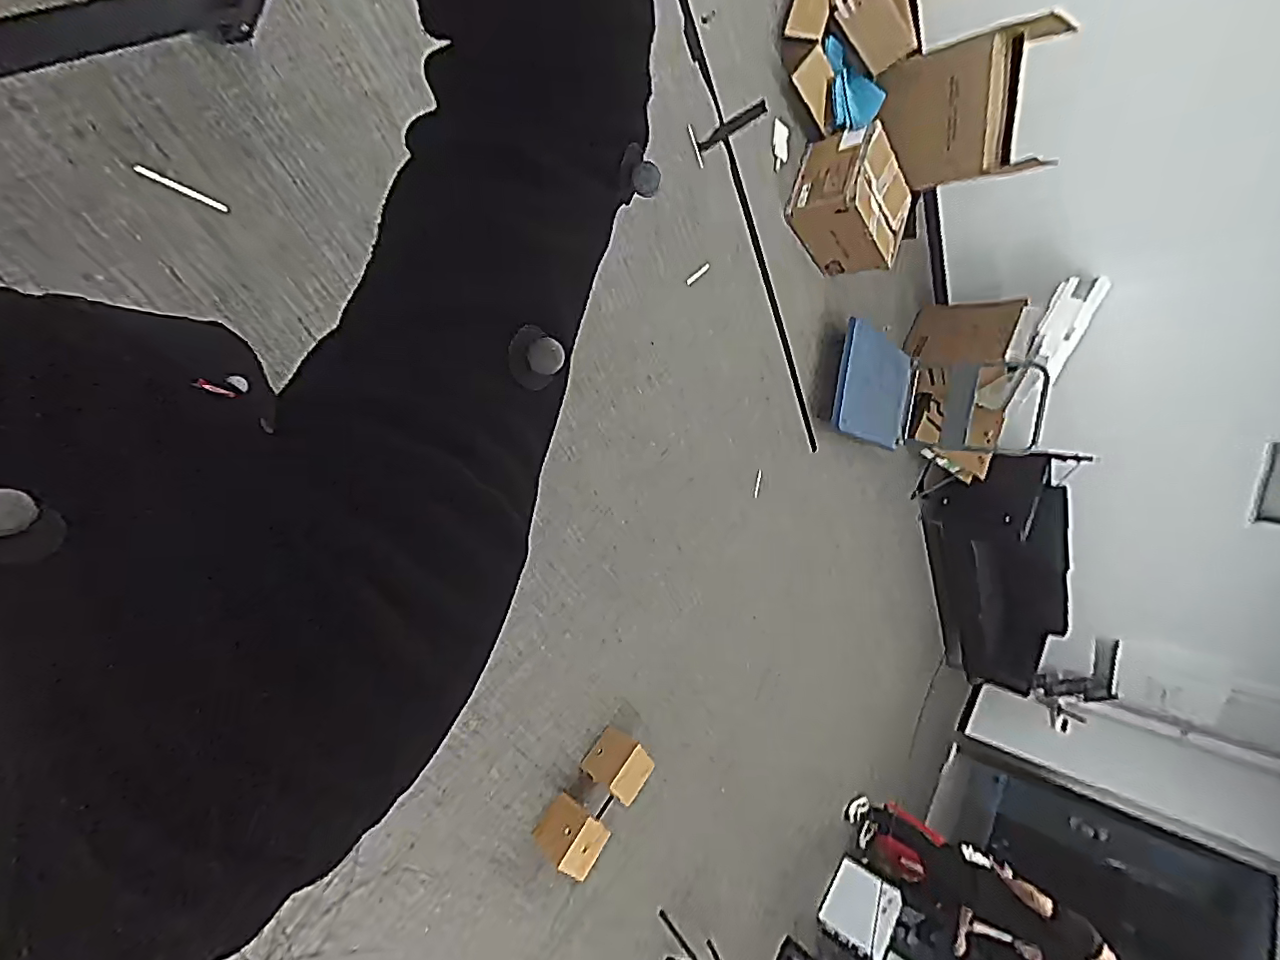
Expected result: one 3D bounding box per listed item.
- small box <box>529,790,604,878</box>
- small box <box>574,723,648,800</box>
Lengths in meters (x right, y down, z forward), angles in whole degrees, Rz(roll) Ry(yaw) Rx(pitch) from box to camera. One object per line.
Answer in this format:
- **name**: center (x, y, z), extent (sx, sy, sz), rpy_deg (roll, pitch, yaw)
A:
- **small box**: center (-0.265, 1.234, 1.891), extent (0.179, 0.176, 0.168), rpy_deg (-52, 129, -27)
- **small box**: center (-0.105, 1.054, 2.015), extent (0.179, 0.176, 0.168), rpy_deg (-47, 127, -29)
